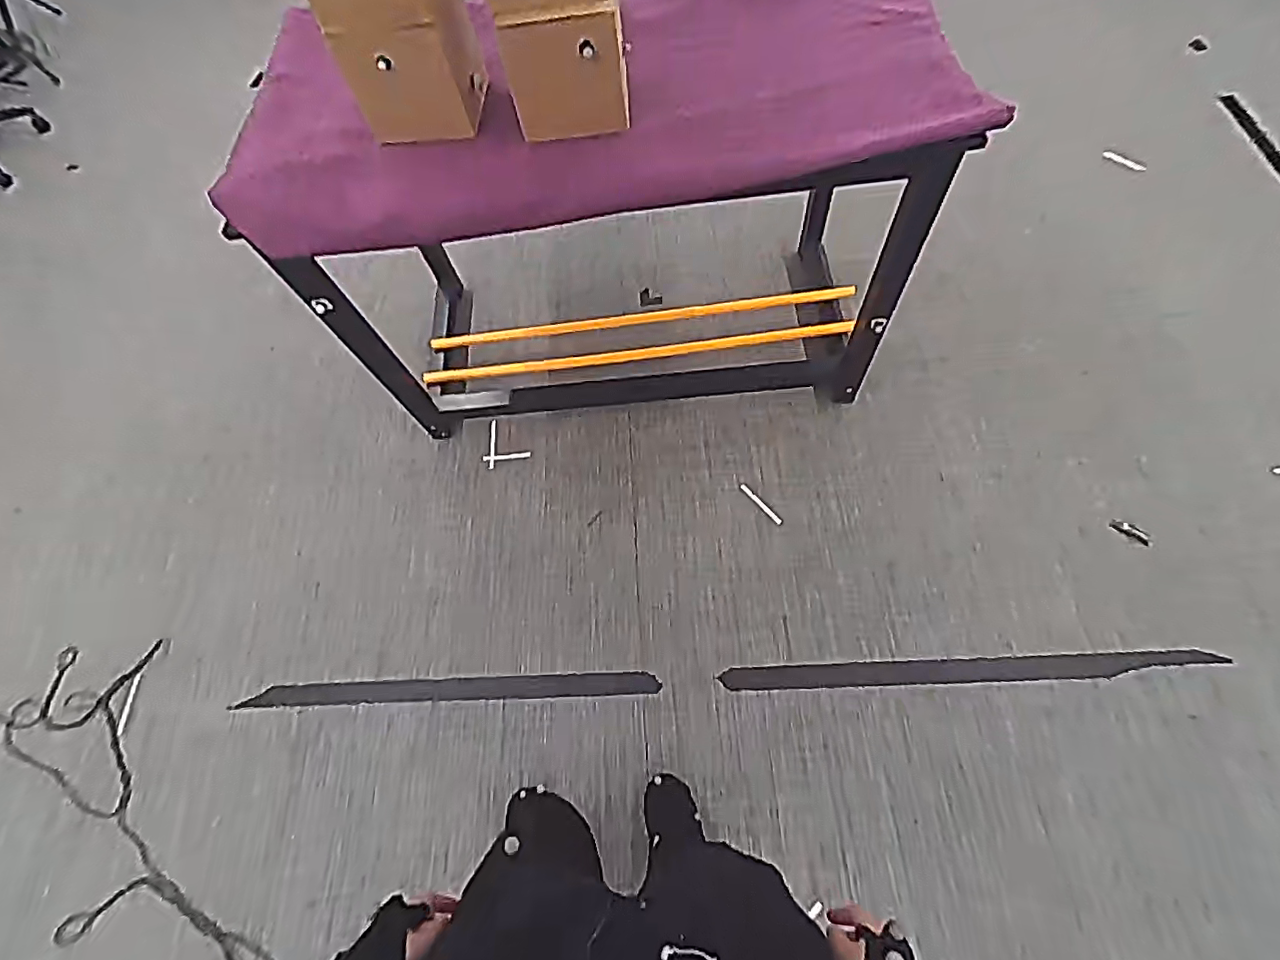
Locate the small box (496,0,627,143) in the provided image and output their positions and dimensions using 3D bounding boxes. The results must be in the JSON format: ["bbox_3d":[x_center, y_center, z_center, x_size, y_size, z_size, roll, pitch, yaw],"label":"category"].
[{"bbox_3d":[-0.113,-0.673,0.861,0.179,0.176,0.168,-4,64,4],"label":"small box"}]

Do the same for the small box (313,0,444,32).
[{"bbox_3d":[-0.375,-0.763,0.749,0.179,0.176,0.168,3,66,7],"label":"small box"}]
